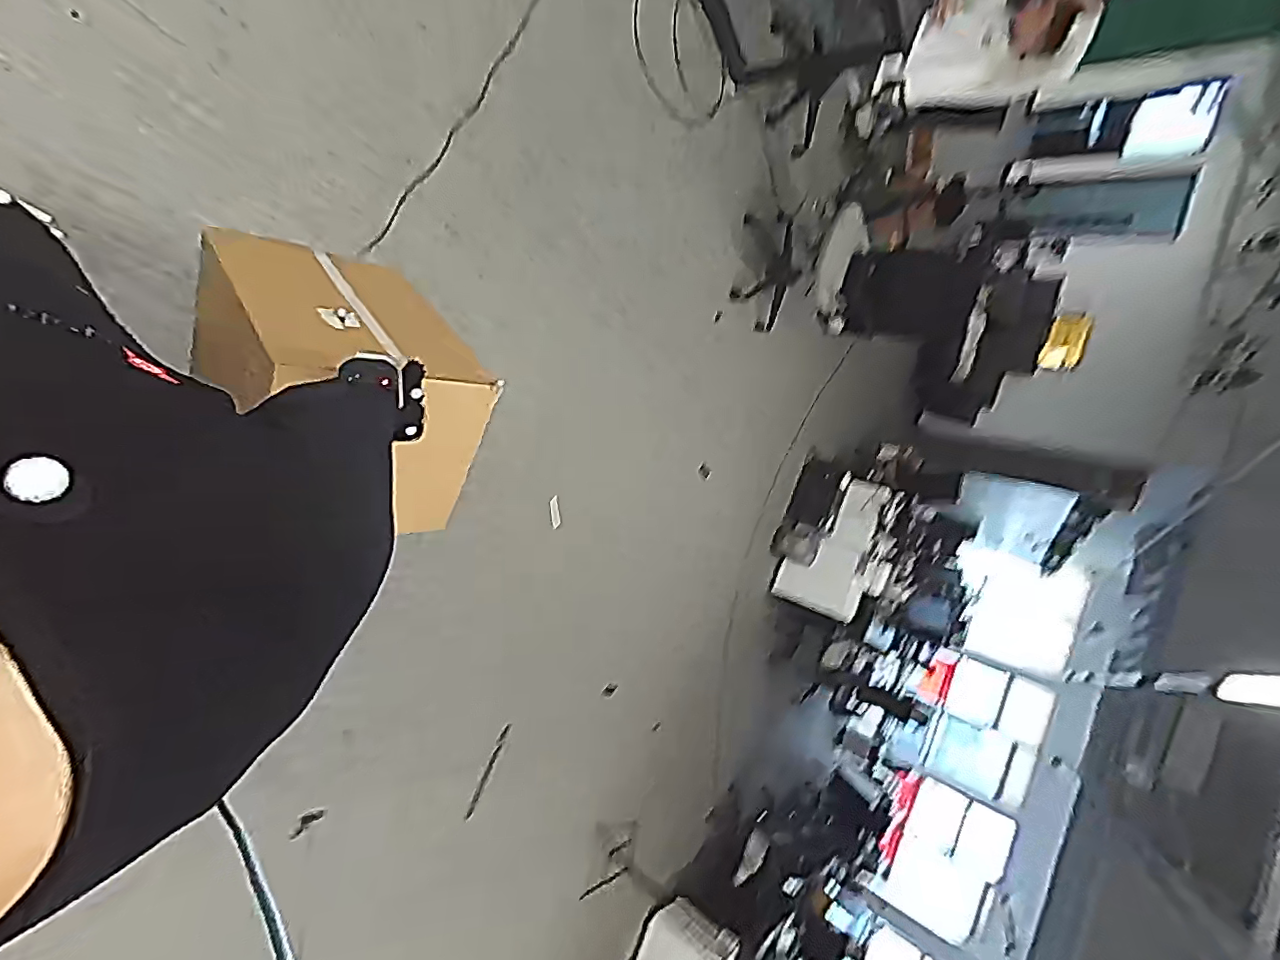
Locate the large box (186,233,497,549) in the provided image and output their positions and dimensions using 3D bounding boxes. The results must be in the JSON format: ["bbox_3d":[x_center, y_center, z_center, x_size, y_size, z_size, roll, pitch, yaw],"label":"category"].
[{"bbox_3d":[-0.519,-0.146,0.918,0.320,0.408,0.320,-6,135,-49],"label":"large box"}]
